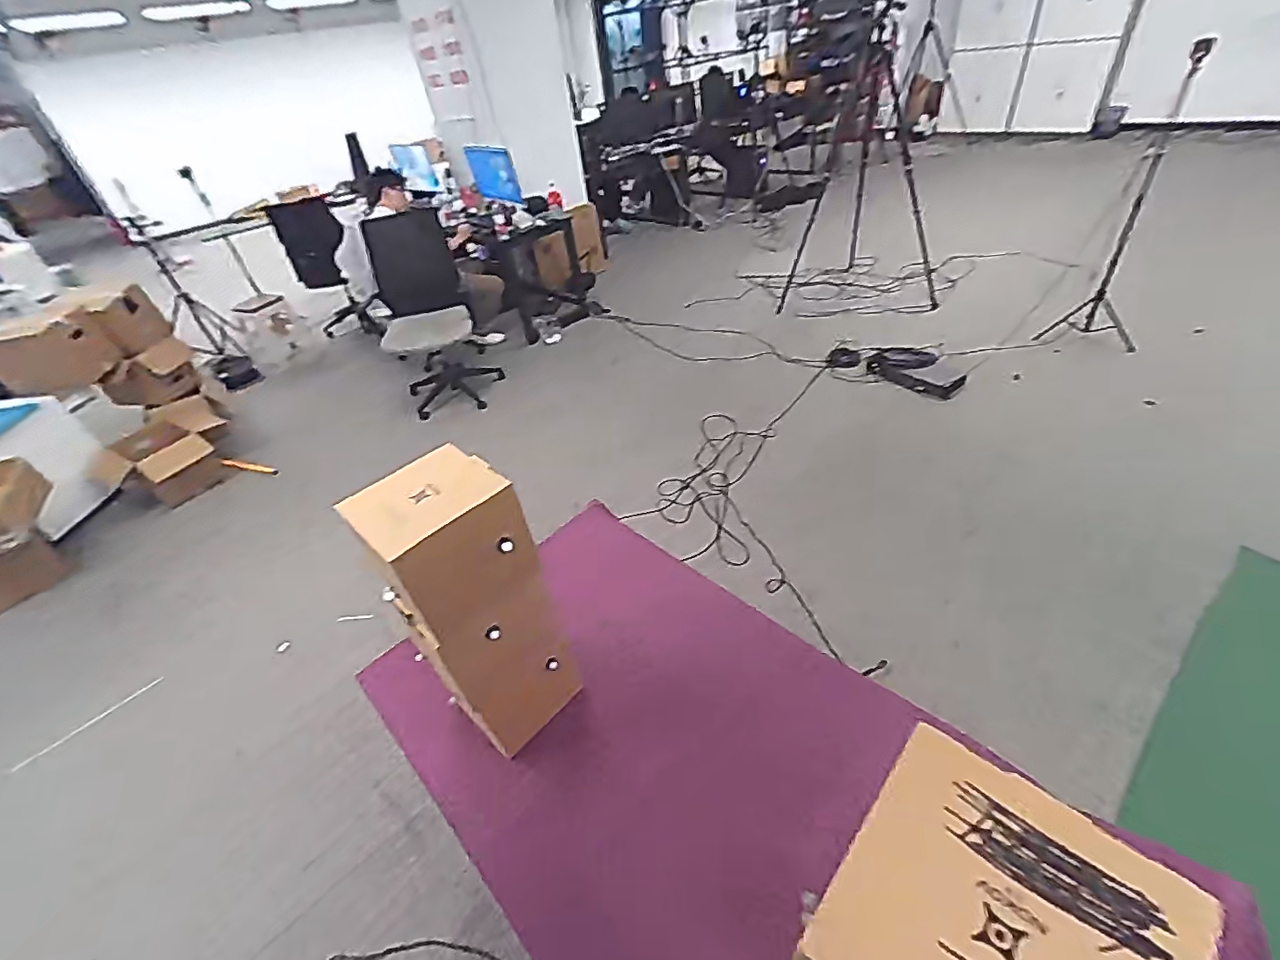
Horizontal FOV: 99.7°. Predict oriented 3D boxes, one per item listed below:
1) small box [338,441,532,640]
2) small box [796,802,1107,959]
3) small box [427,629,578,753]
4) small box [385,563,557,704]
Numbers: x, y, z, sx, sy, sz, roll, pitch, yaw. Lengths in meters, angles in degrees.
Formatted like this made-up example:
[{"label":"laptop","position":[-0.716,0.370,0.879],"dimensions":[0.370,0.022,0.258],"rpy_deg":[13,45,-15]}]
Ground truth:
[{"label":"small box","position":[-0.267,0.079,0.744],"dimensions":[0.168,0.176,0.179],"rpy_deg":[27,51,38]},{"label":"small box","position":[0.245,0.432,0.458],"dimensions":[0.179,0.176,0.168],"rpy_deg":[-35,45,-29]},{"label":"small box","position":[-0.231,0.334,0.947],"dimensions":[0.168,0.176,0.179],"rpy_deg":[26,50,37]},{"label":"small box","position":[-0.253,0.208,0.843],"dimensions":[0.168,0.176,0.179],"rpy_deg":[27,50,37]}]
